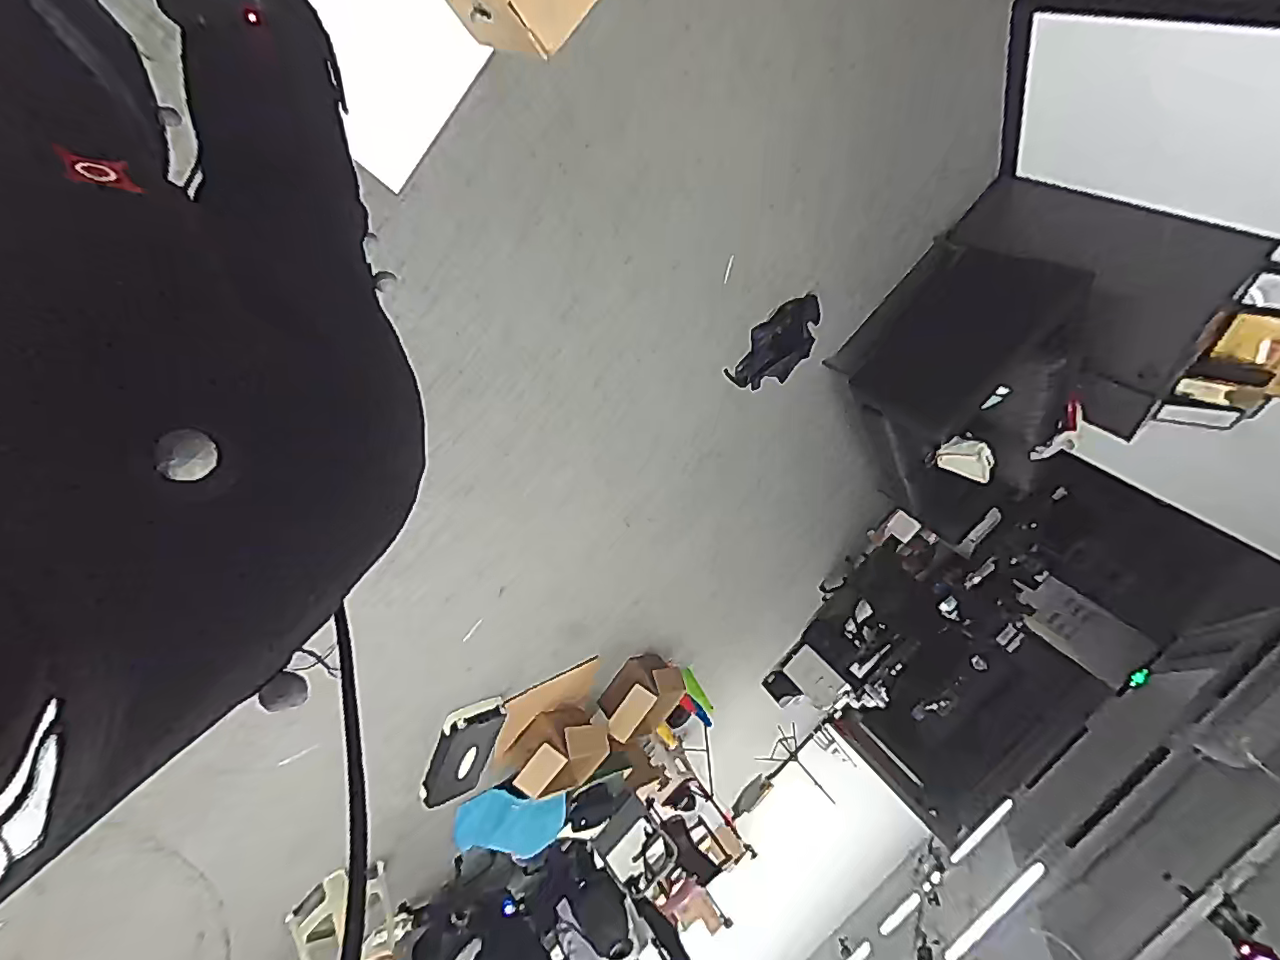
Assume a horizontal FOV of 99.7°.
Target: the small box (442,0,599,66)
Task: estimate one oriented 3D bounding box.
[{"bbox_3d":[-0.126,-0.540,0.505,0.179,0.176,0.168,-50,146,5],"label":"small box"}]
